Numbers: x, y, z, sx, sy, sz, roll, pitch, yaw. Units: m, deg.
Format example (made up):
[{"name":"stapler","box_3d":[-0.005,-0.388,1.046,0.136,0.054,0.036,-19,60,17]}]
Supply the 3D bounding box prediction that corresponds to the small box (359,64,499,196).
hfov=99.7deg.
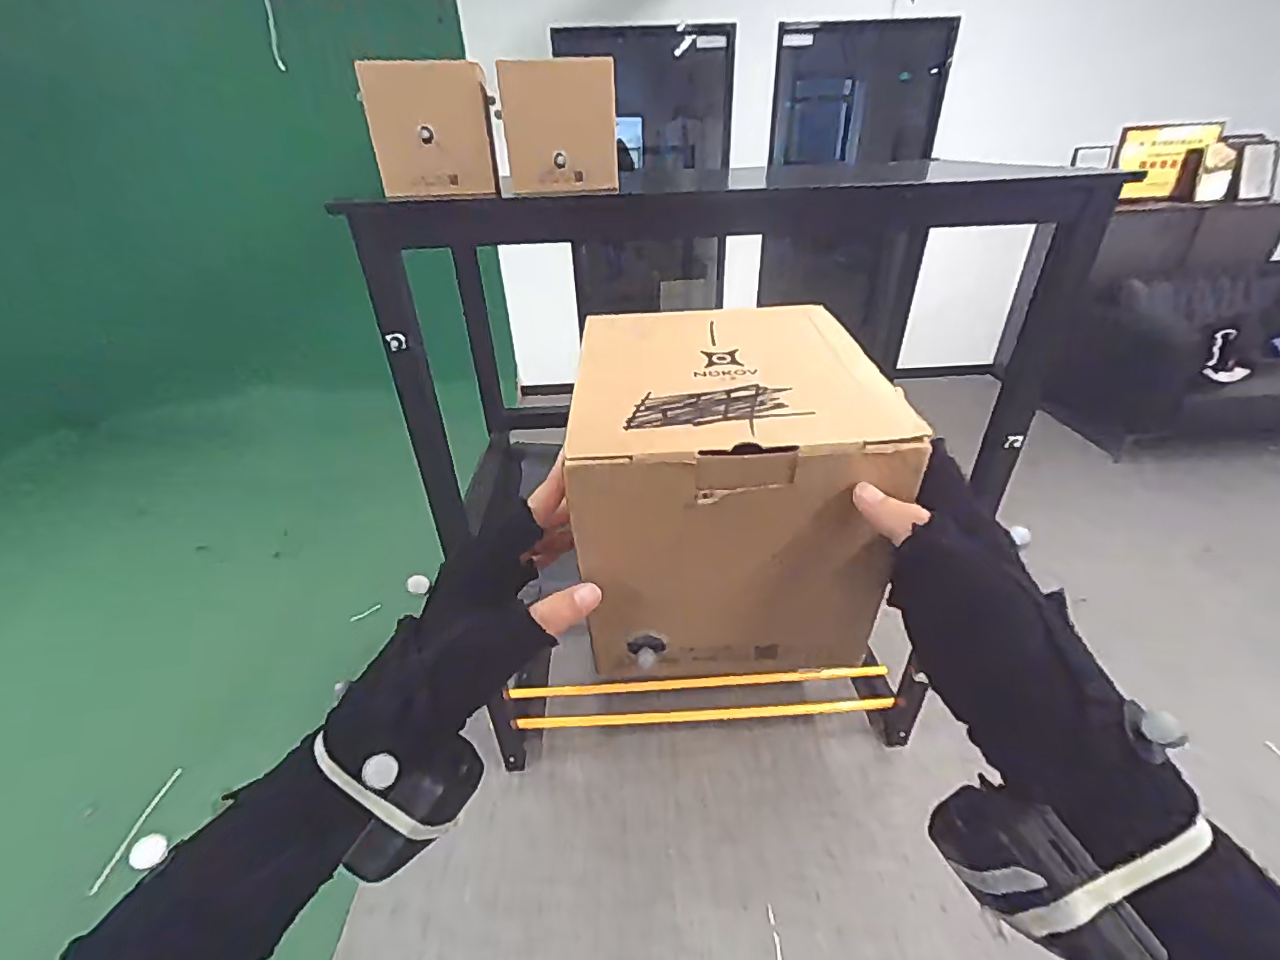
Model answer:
[{"name":"small box","box_3d":[-0.326,-0.559,0.877,0.168,0.176,0.179,-5,32,-8]}]

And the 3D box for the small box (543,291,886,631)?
[{"name":"small box","box_3d":[0.039,-0.013,0.365,0.168,0.176,0.179,-2,36,1]}]
